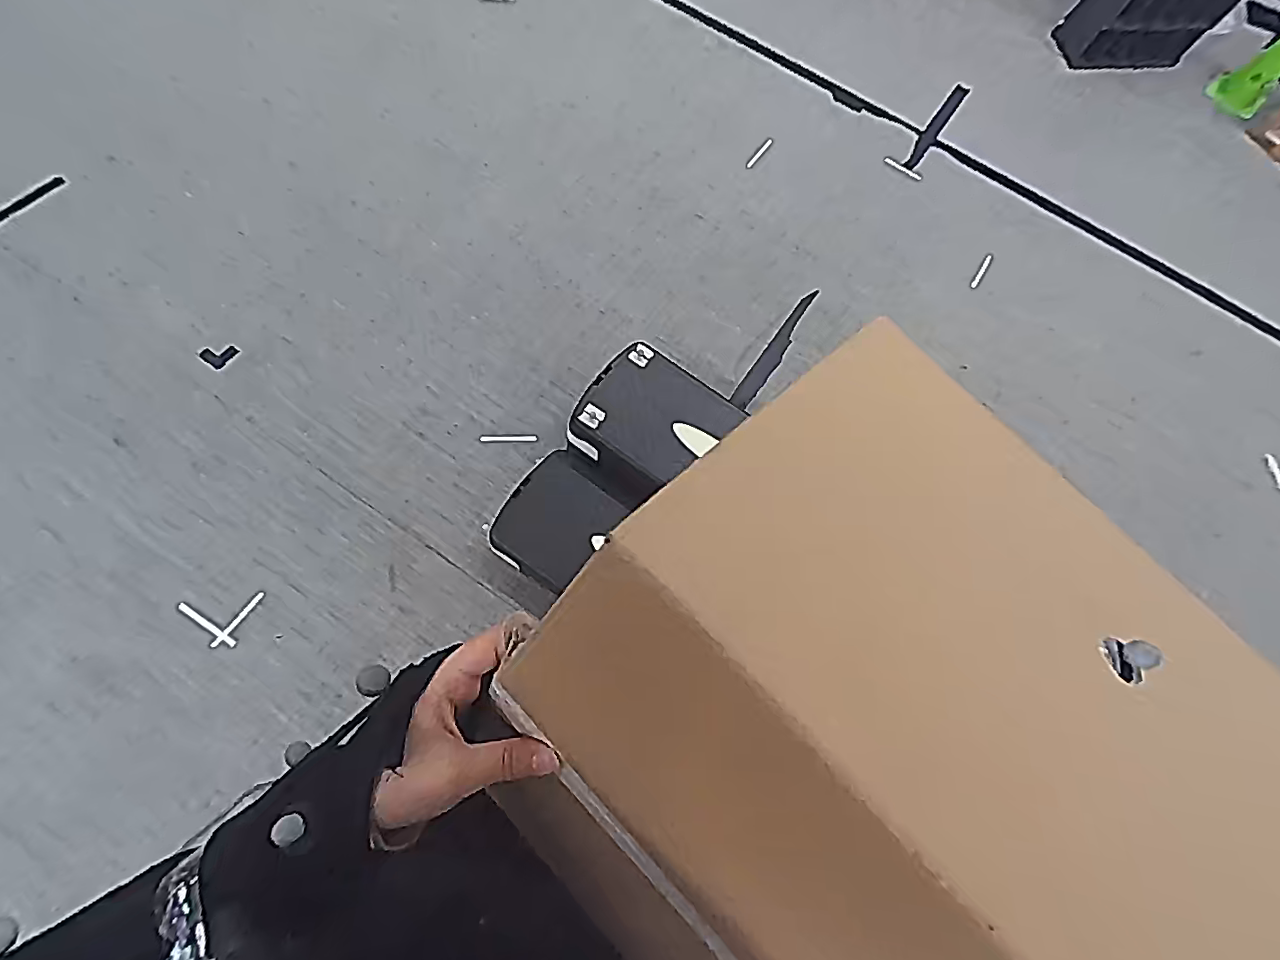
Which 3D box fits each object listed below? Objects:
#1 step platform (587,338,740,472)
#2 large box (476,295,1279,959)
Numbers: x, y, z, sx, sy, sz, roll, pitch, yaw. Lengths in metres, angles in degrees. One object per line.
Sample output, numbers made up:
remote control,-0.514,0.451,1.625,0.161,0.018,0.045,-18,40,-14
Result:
step platform,0.201,-0.023,1.271,0.684,0.204,0.286,41,72,7
large box,0.169,0.150,0.351,0.408,0.320,0.320,45,47,8
